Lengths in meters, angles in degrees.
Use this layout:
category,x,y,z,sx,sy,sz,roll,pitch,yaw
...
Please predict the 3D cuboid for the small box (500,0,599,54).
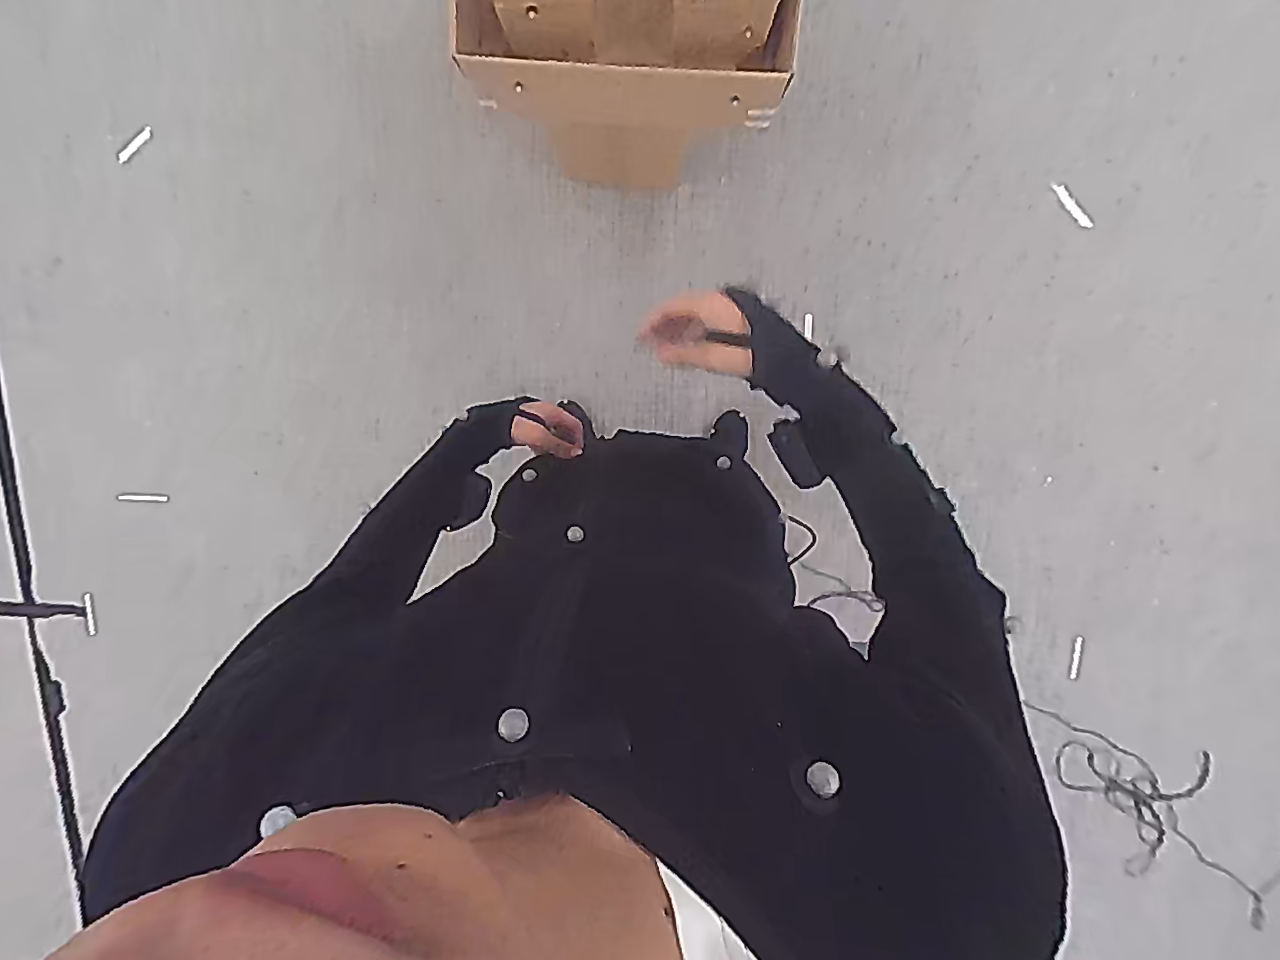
category,x,y,z,sx,sy,sz,roll,pitch,yaw
small box,-0.165,-0.915,0.972,0.168,0.176,0.179,0,99,2
